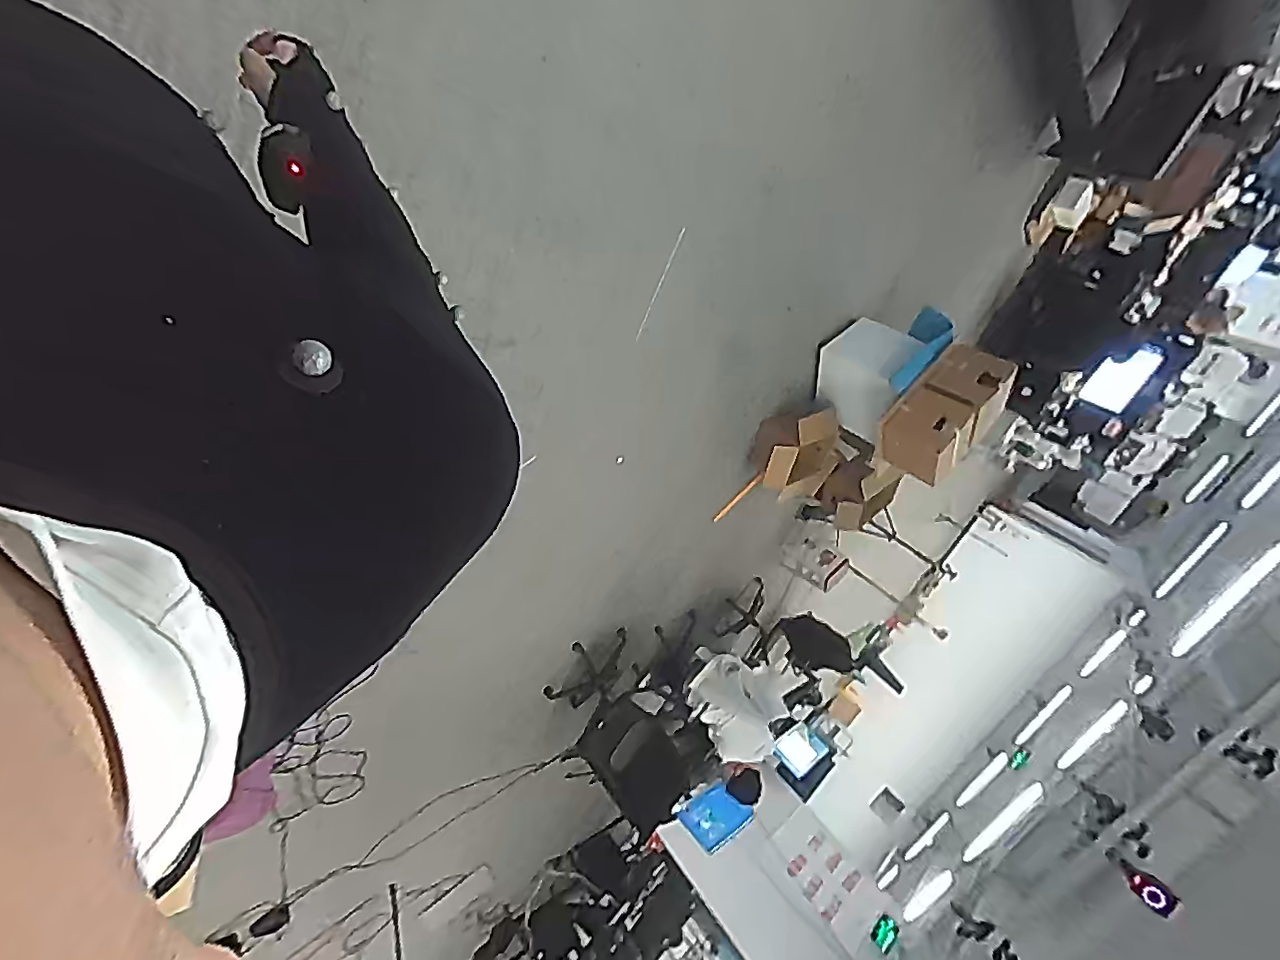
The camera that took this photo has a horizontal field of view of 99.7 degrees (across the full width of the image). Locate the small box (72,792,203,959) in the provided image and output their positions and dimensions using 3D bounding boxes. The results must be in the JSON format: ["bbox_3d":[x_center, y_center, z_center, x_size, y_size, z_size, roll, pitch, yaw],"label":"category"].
[{"bbox_3d":[-0.959,0.734,1.030,0.168,0.176,0.179,1,122,-47],"label":"small box"}]
